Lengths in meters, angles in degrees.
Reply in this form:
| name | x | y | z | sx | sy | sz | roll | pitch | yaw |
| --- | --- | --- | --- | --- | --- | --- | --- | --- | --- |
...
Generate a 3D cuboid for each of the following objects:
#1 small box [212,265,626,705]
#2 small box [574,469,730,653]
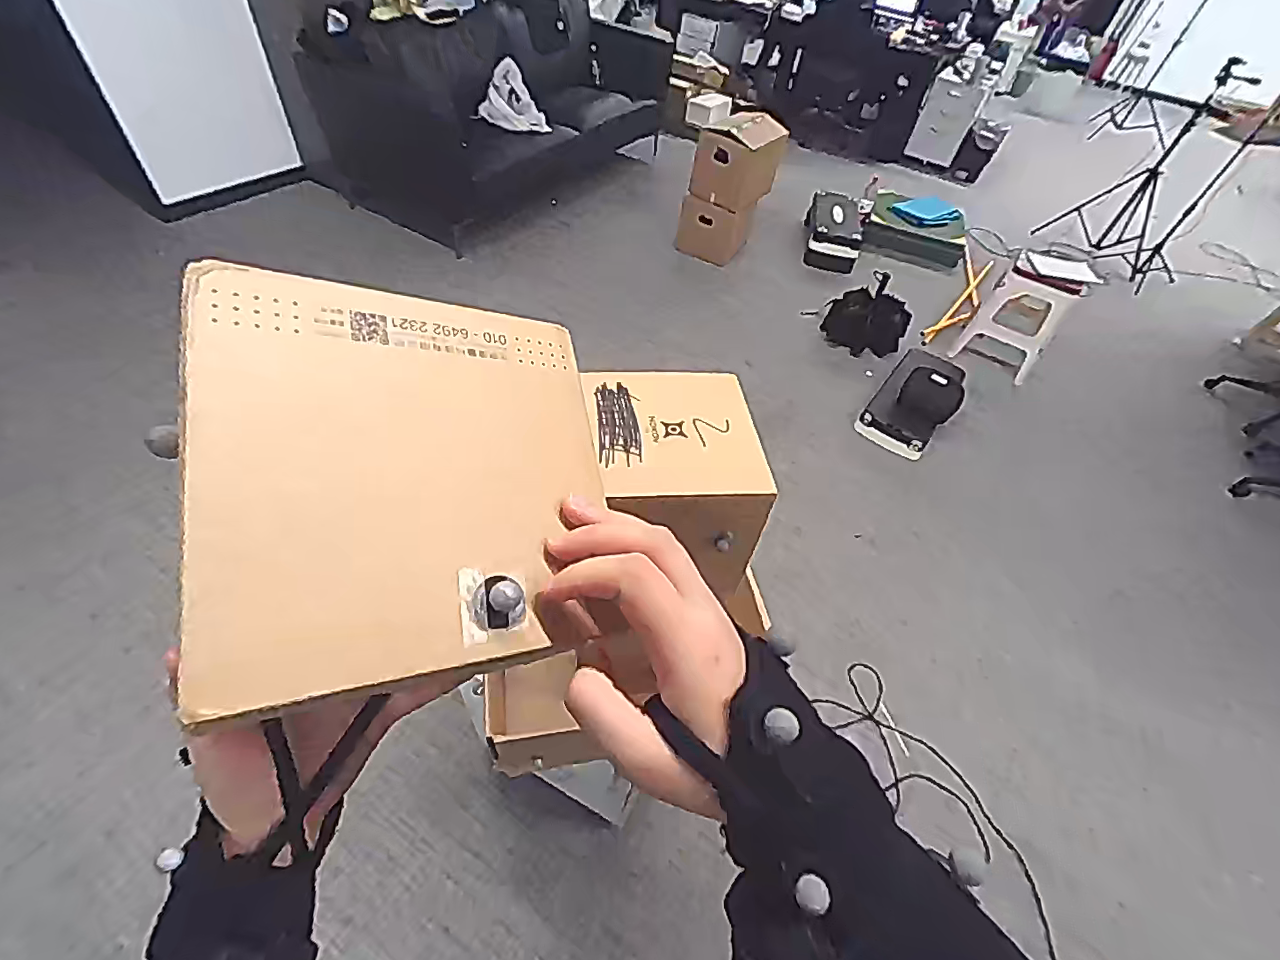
| name | x | y | z | sx | sy | sz | roll | pitch | yaw |
| --- | --- | --- | --- | --- | --- | --- | --- | --- | --- |
| small box | -0.133 | 0.017 | 0.304 | 0.168 | 0.179 | 0.176 | 0 | 69 | -37 |
| small box | -0.002 | 0.105 | 0.698 | 0.179 | 0.176 | 0.168 | -4 | 48 | -9 |
